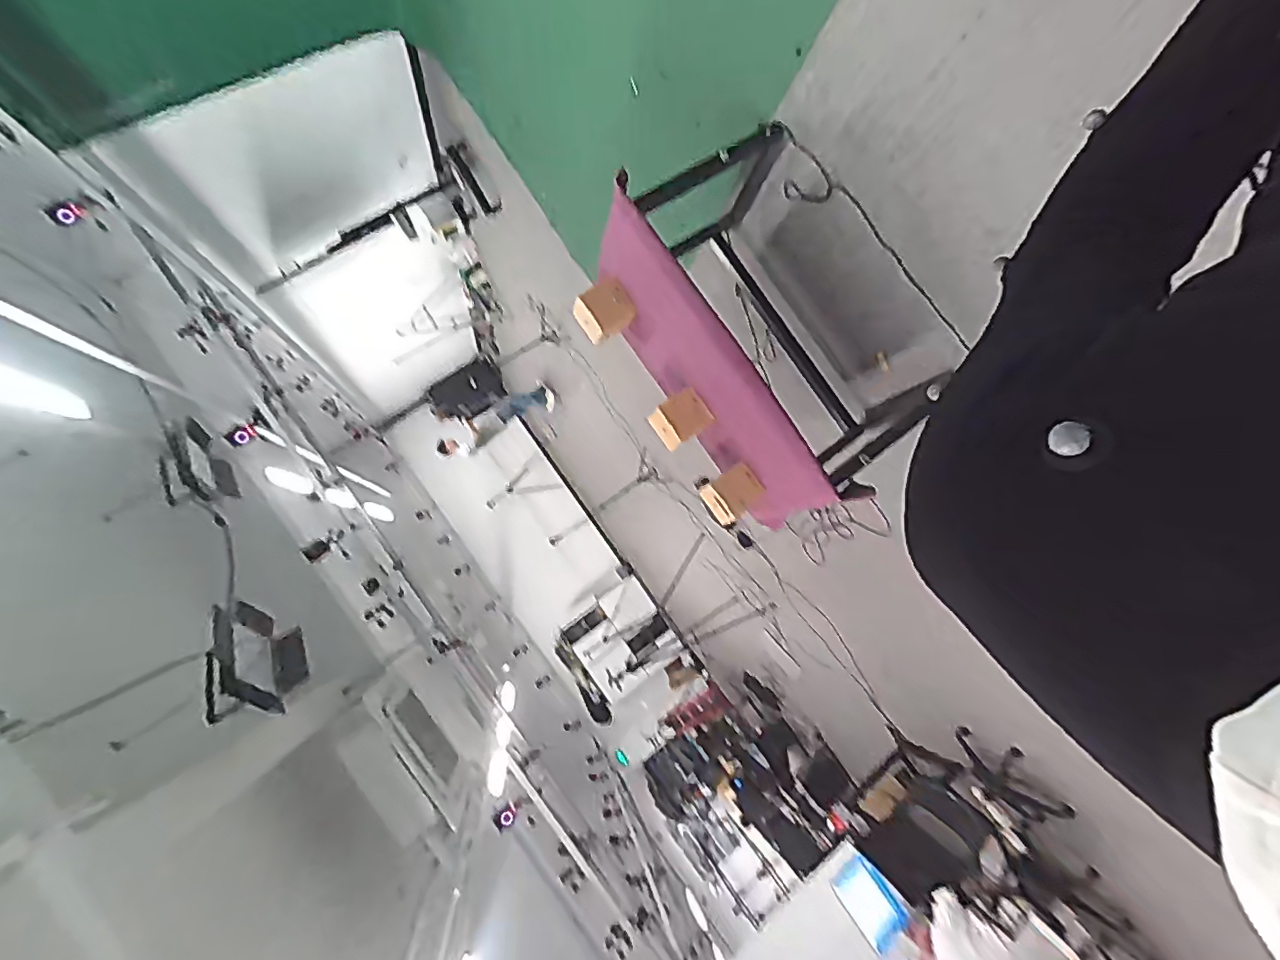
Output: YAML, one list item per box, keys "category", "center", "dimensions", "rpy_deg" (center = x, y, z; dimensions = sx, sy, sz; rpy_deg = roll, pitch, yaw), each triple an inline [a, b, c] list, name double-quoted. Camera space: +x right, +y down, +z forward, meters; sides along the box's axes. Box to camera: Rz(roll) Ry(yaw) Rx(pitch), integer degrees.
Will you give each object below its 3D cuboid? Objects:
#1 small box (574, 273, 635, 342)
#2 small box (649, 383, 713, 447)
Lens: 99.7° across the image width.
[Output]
- category: "small box"
  center: [-0.140, -0.680, 2.133]
  dimensions: [0.168, 0.176, 0.179]
  rpy_deg: [55, 165, -5]
- category: "small box"
  center: [0.162, -0.256, 2.136]
  dimensions: [0.168, 0.176, 0.179]
  rpy_deg: [55, 165, 1]
